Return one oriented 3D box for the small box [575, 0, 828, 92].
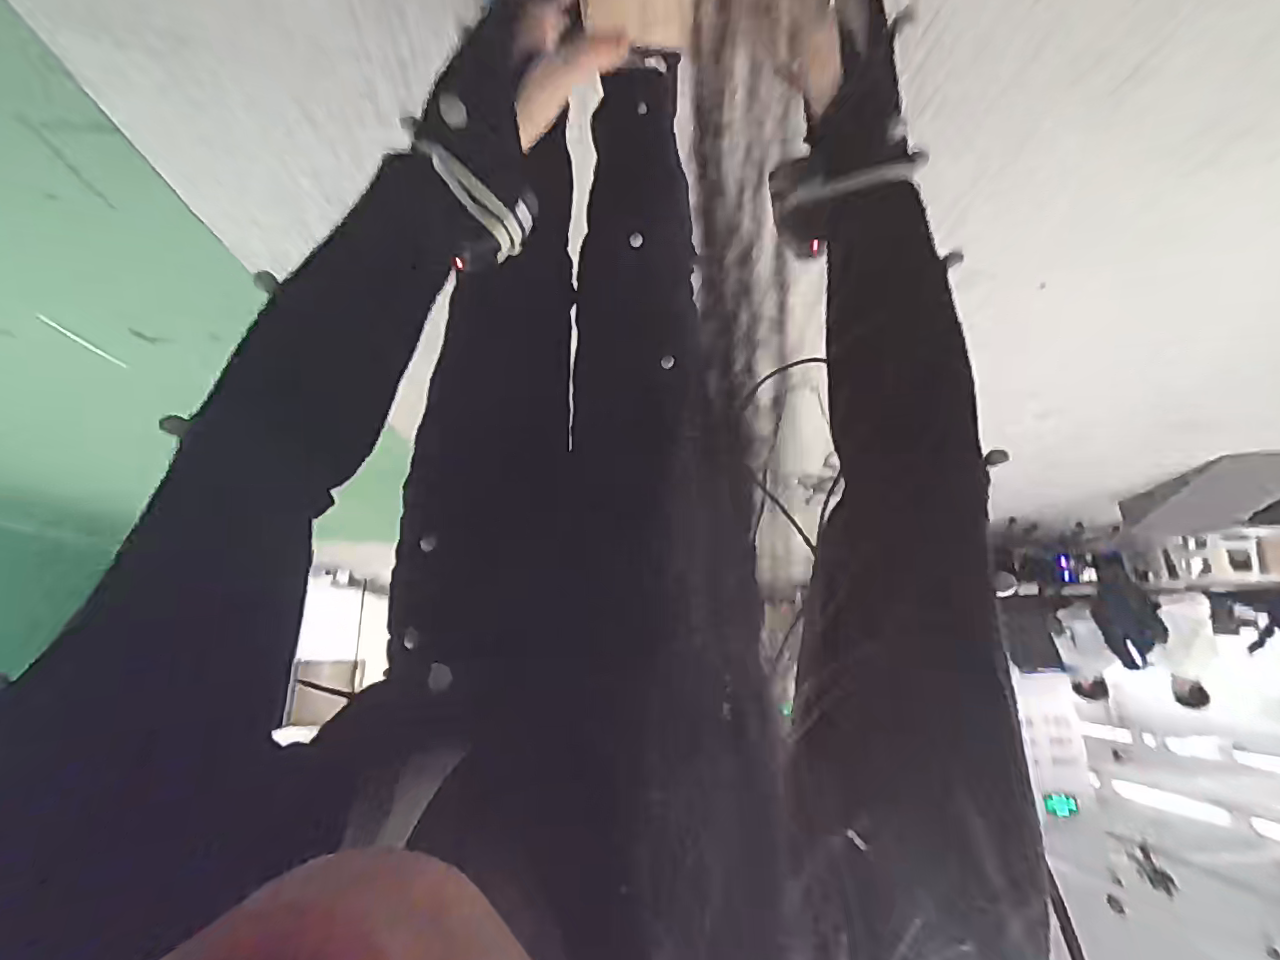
[{"bbox_3d":[0.042,-0.402,0.356,0.168,0.176,0.179,-2,152,-10],"label":"small box"}]
